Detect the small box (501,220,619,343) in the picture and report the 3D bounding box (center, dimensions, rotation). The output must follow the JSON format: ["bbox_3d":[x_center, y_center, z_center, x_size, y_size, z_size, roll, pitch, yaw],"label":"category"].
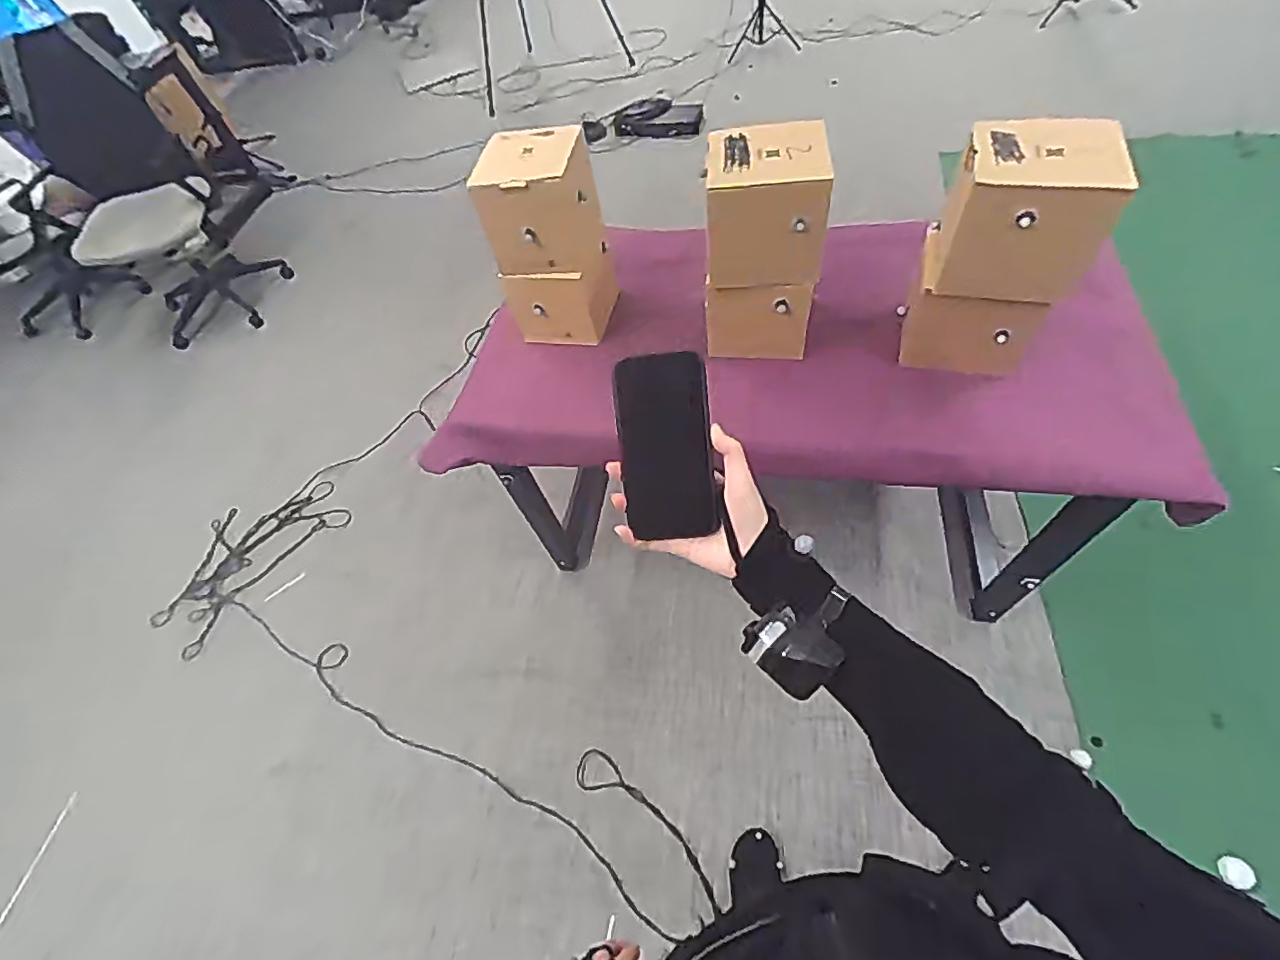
[{"bbox_3d":[-0.149,-0.396,1.090,0.168,0.176,0.179,6,58,14],"label":"small box"}]

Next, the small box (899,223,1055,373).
[{"bbox_3d":[0.550,-0.298,0.899,0.179,0.176,0.168,11,59,18],"label":"small box"}]

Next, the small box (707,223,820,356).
[{"bbox_3d":[0.224,-0.342,0.986,0.179,0.176,0.168,5,58,14],"label":"small box"}]

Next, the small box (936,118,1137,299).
[{"bbox_3d":[0.531,-0.374,0.754,0.179,0.176,0.168,11,59,16],"label":"small box"}]

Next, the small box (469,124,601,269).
[{"bbox_3d":[-0.172,-0.492,0.959,0.168,0.176,0.179,2,58,11],"label":"small box"}]
